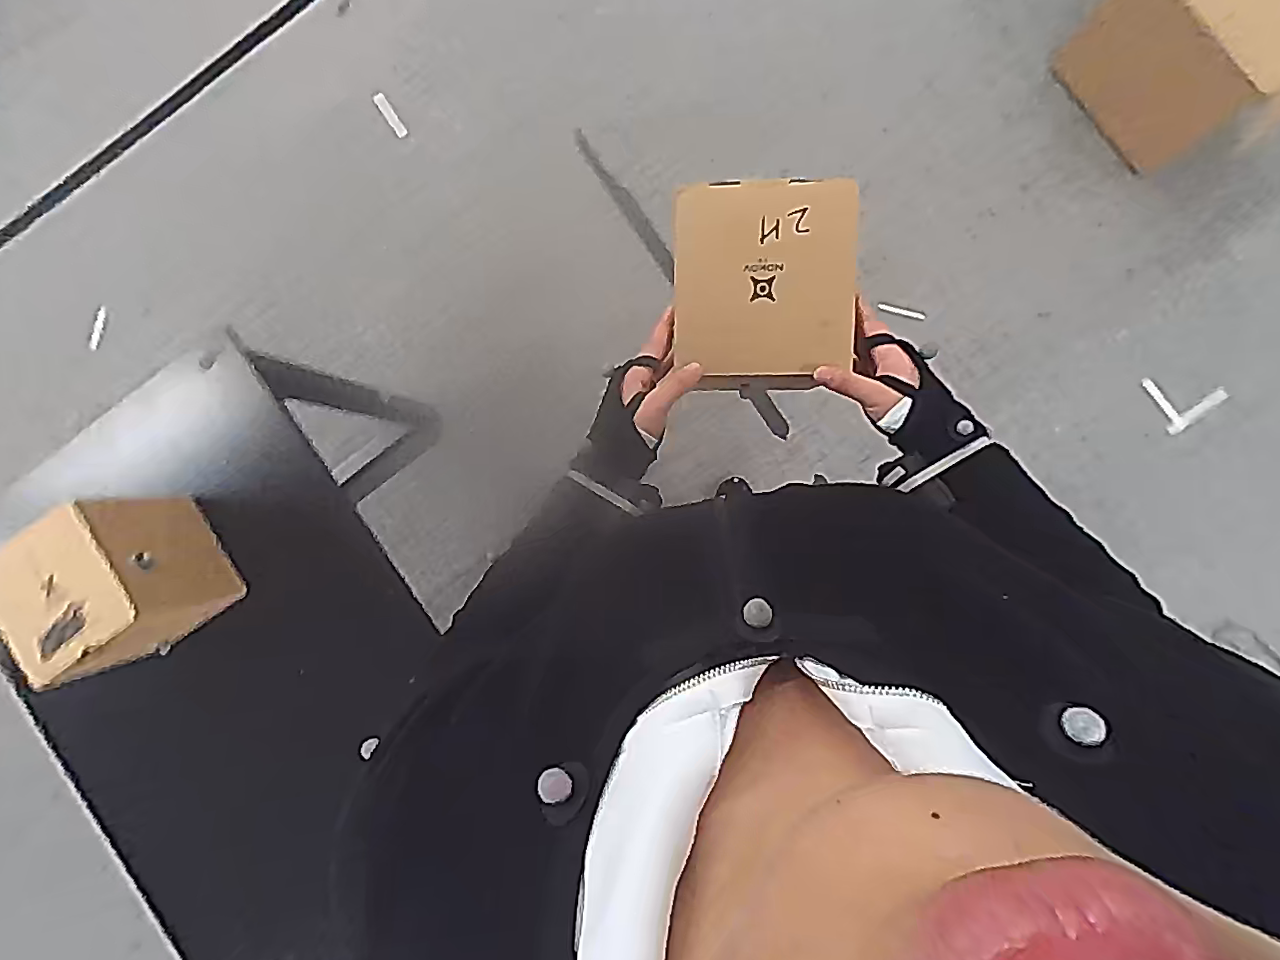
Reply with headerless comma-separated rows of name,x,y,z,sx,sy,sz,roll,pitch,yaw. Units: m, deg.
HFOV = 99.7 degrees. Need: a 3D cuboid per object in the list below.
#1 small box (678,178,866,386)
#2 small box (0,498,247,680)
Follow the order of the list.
small box,0.127,-0.197,0.581,0.168,0.176,0.179,2,94,3
small box,-0.706,0.136,0.752,0.168,0.176,0.179,-34,87,3
